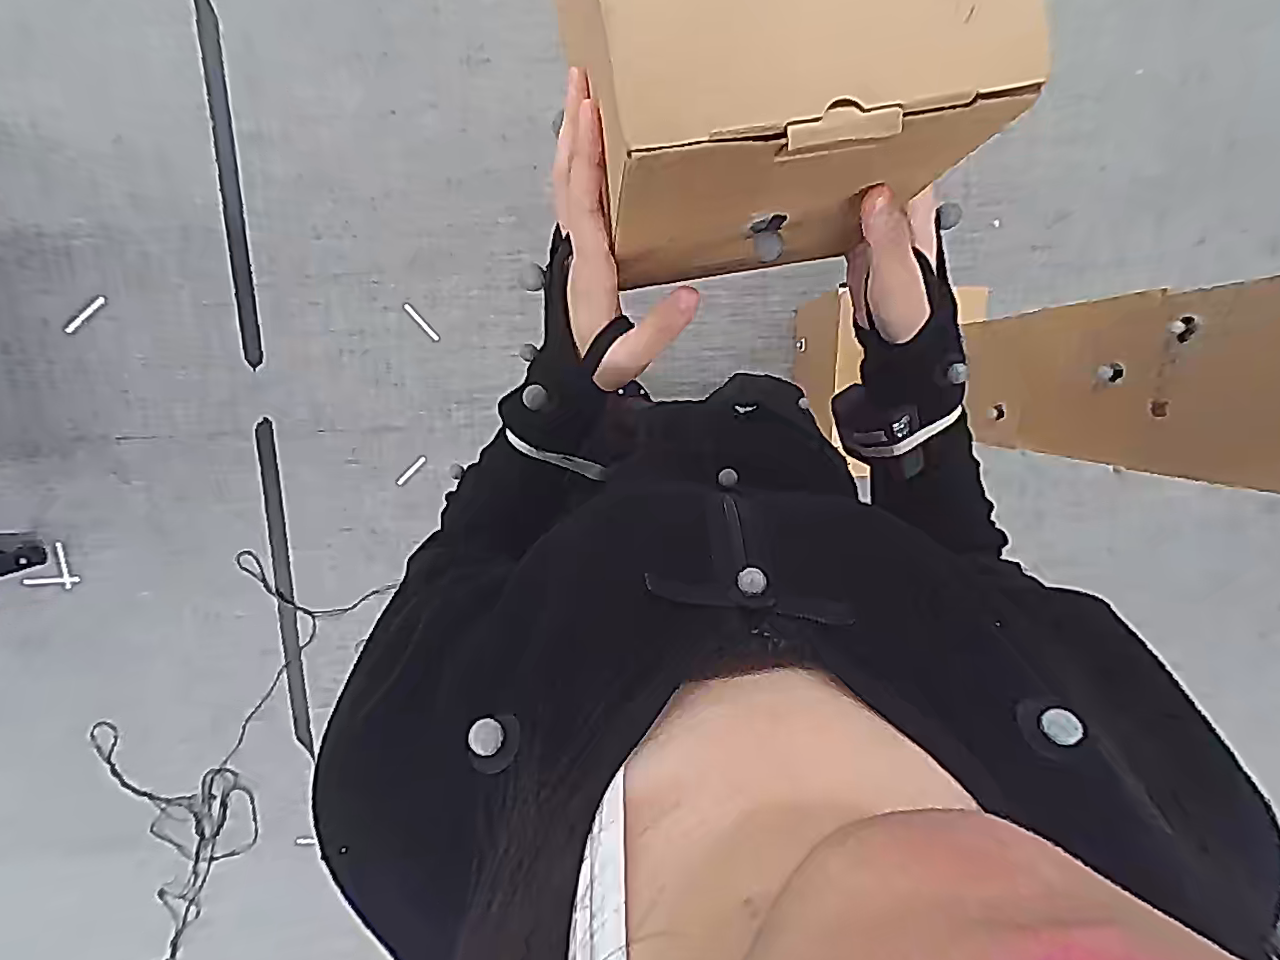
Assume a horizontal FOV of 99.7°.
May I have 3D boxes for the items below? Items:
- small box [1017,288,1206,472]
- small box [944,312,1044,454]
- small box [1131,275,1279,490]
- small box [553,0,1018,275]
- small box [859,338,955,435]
[{"bbox_3d":[0.560,-0.105,0.599,0.168,0.176,0.179,2,100,0],"label":"small box"},{"bbox_3d":[0.557,-0.133,0.759,0.168,0.176,0.179,2,100,-1],"label":"small box"},{"bbox_3d":[0.562,-0.075,0.438,0.179,0.176,0.168,2,100,-1],"label":"small box"},{"bbox_3d":[0.046,-0.220,0.279,0.168,0.176,0.179,-11,94,-4],"label":"small box"},{"bbox_3d":[0.552,-0.186,1.083,0.168,0.176,0.179,-2,101,1],"label":"small box"}]
